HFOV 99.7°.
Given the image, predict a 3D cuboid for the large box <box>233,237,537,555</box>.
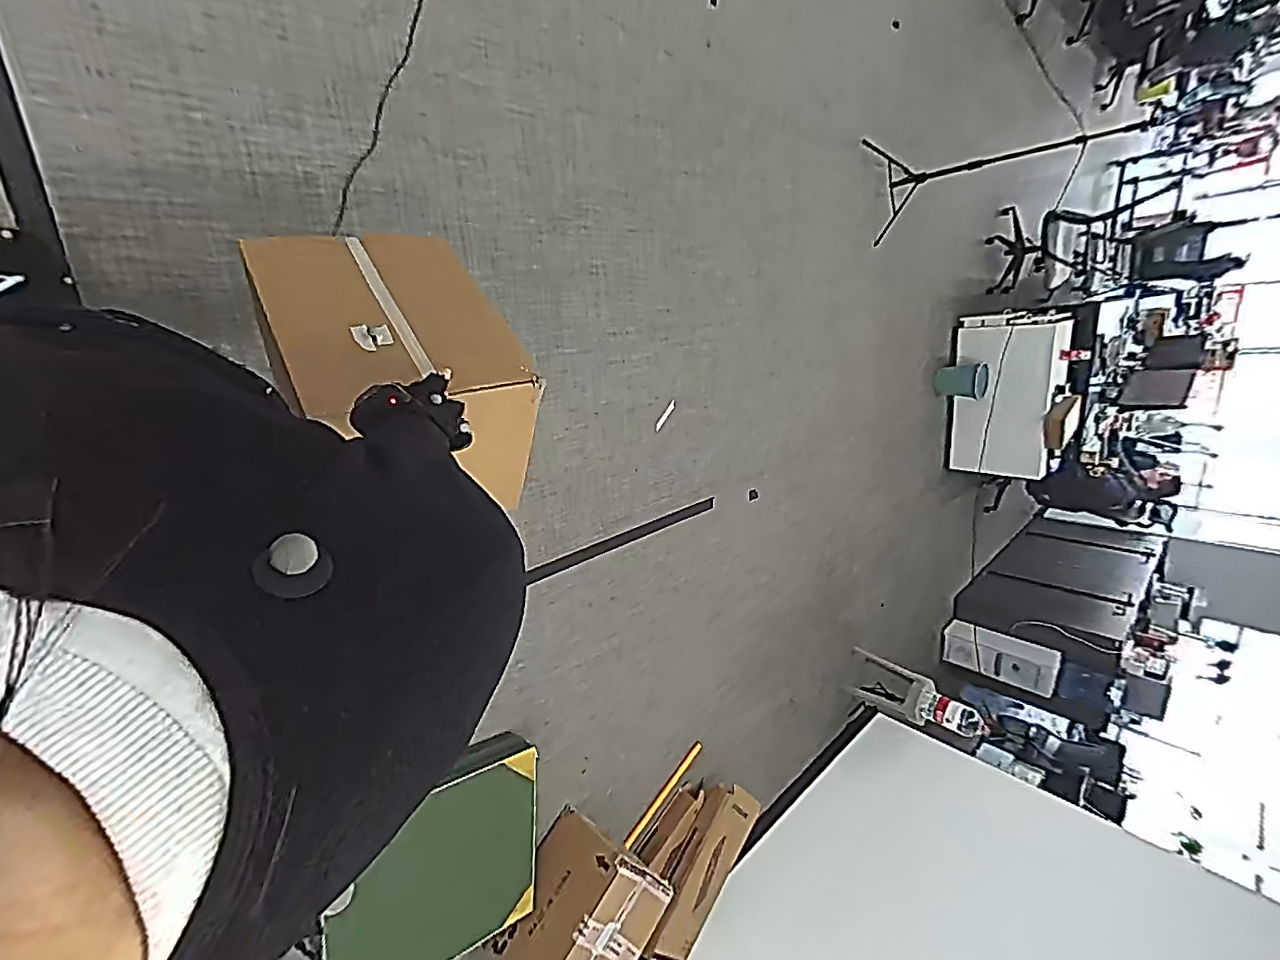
[{"bbox_3d":[-0.421,-0.153,0.904,0.320,0.408,0.320,-18,150,-32],"label":"large box"}]
